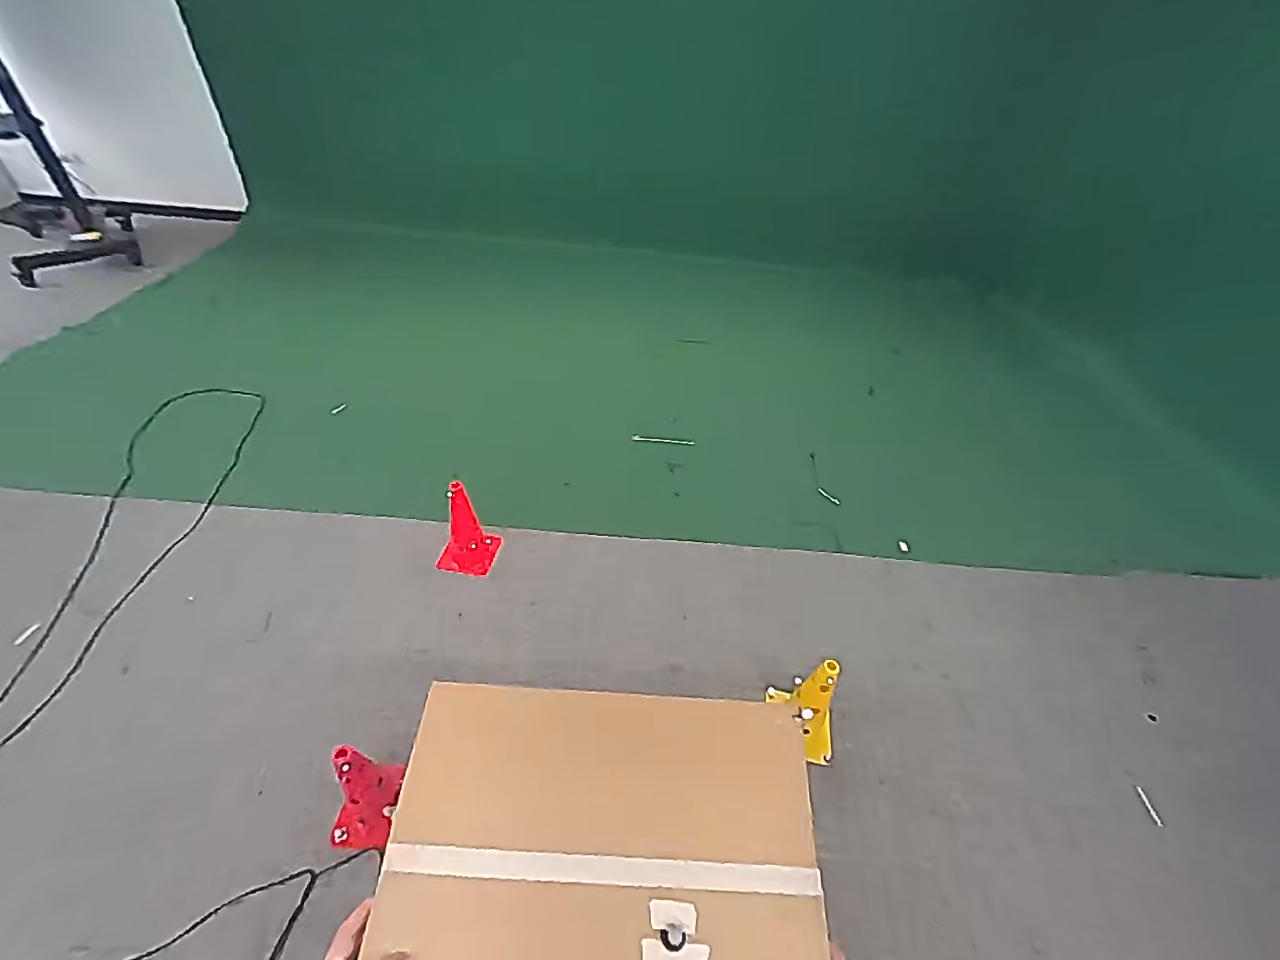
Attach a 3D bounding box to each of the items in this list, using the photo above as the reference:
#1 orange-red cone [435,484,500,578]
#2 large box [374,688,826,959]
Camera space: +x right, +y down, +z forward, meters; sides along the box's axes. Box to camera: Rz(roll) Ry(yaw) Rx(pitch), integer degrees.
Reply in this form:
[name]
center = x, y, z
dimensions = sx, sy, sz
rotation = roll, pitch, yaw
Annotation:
[orange-red cone]
center = -0.647, 0.159, 1.952
dimensions = 0.199, 0.360, 0.198
rotation = 9, 41, 6
[large box]
center = -0.039, 0.450, 0.632
dimensions = 0.408, 0.320, 0.320
rotation = 3, 56, -1
